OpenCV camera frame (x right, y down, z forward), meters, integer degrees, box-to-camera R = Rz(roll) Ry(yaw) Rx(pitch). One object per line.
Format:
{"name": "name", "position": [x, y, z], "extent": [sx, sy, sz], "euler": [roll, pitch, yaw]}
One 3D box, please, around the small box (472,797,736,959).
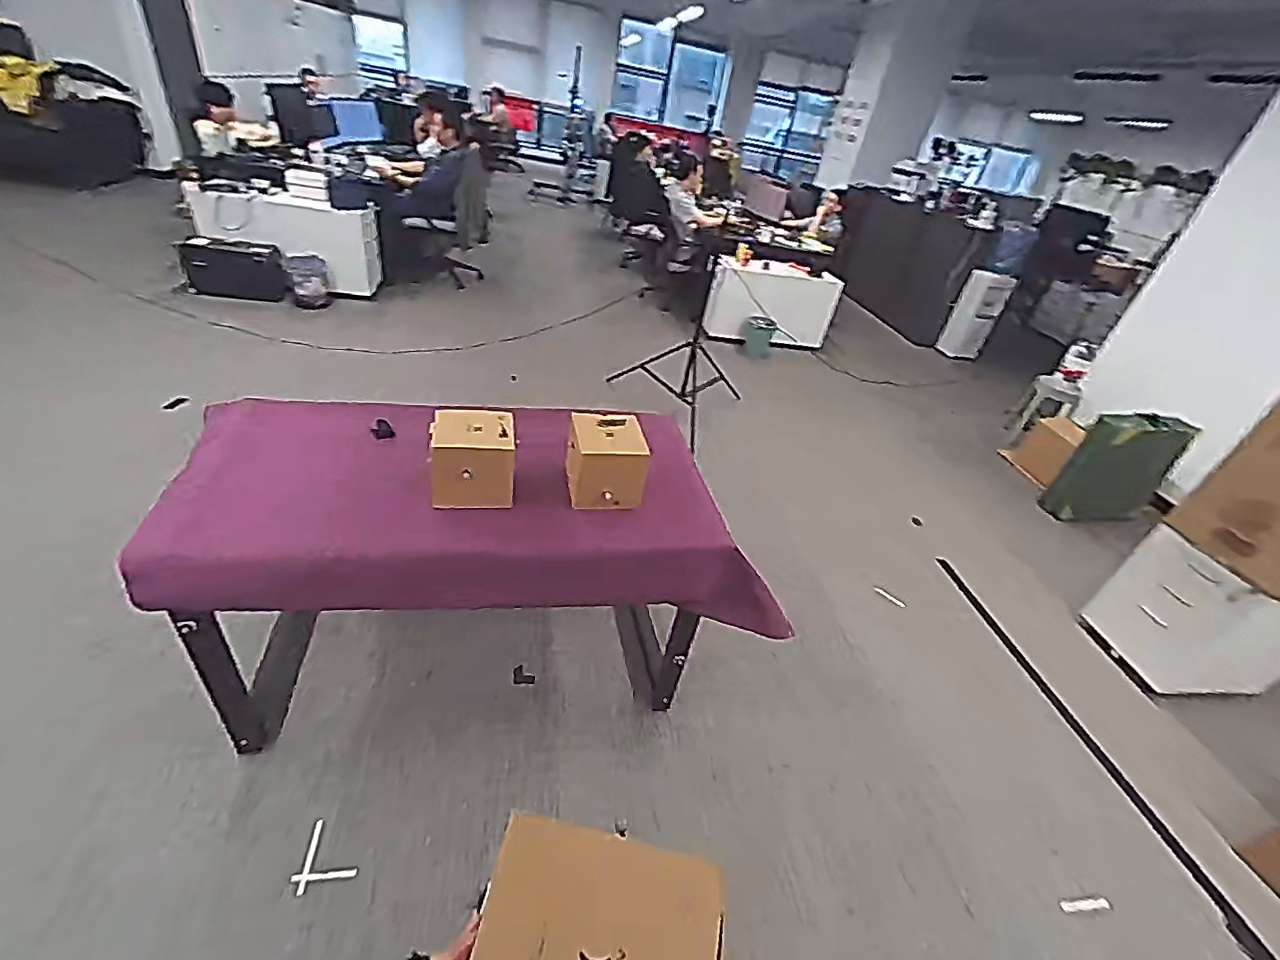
{"name": "small box", "position": [-0.039, 0.370, 0.437], "extent": [0.179, 0.176, 0.168], "euler": [15, 55, -4]}

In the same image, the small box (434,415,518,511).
{"name": "small box", "position": [-0.379, -0.040, 1.266], "extent": [0.179, 0.176, 0.168], "euler": [0, 36, -15]}

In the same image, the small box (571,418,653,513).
{"name": "small box", "position": [-0.078, -0.037, 1.345], "extent": [0.168, 0.176, 0.179], "euler": [0, 36, -15]}
